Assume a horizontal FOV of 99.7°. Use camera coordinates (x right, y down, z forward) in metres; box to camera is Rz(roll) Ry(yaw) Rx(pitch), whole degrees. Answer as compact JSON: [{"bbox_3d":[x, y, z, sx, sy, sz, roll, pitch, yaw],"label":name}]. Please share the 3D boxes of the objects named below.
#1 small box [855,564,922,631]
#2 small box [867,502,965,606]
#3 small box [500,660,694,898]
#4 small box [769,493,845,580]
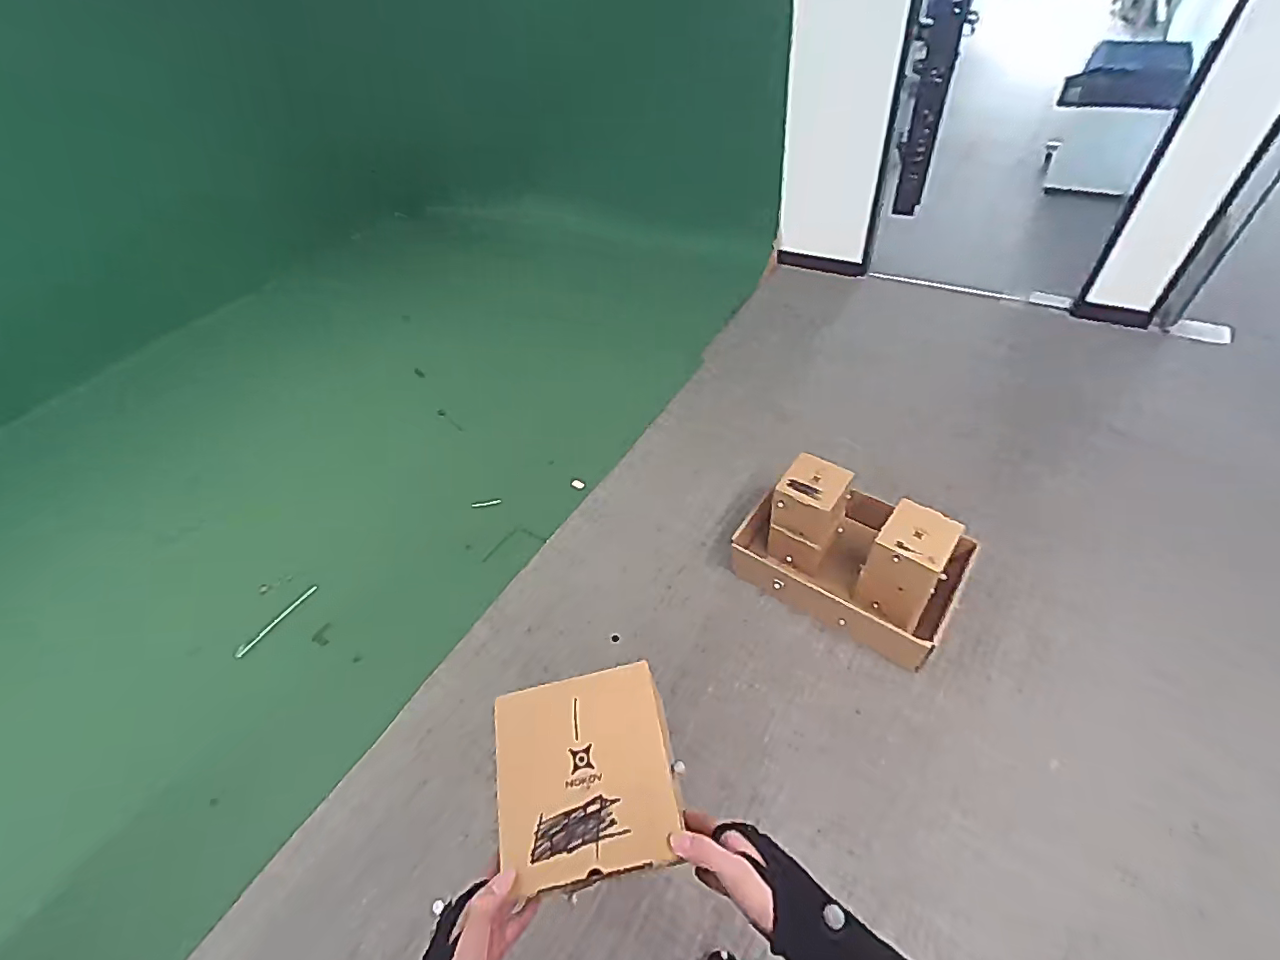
[{"bbox_3d":[0.747,0.301,1.574,0.168,0.176,0.179,28,59,30],"label":"small box"},{"bbox_3d":[0.729,0.198,1.446,0.168,0.176,0.179,29,59,30],"label":"small box"},{"bbox_3d":[-0.041,0.319,0.577,0.168,0.176,0.179,-13,52,-1],"label":"small box"},{"bbox_3d":[0.523,0.181,1.716,0.168,0.176,0.179,27,58,29],"label":"small box"}]
